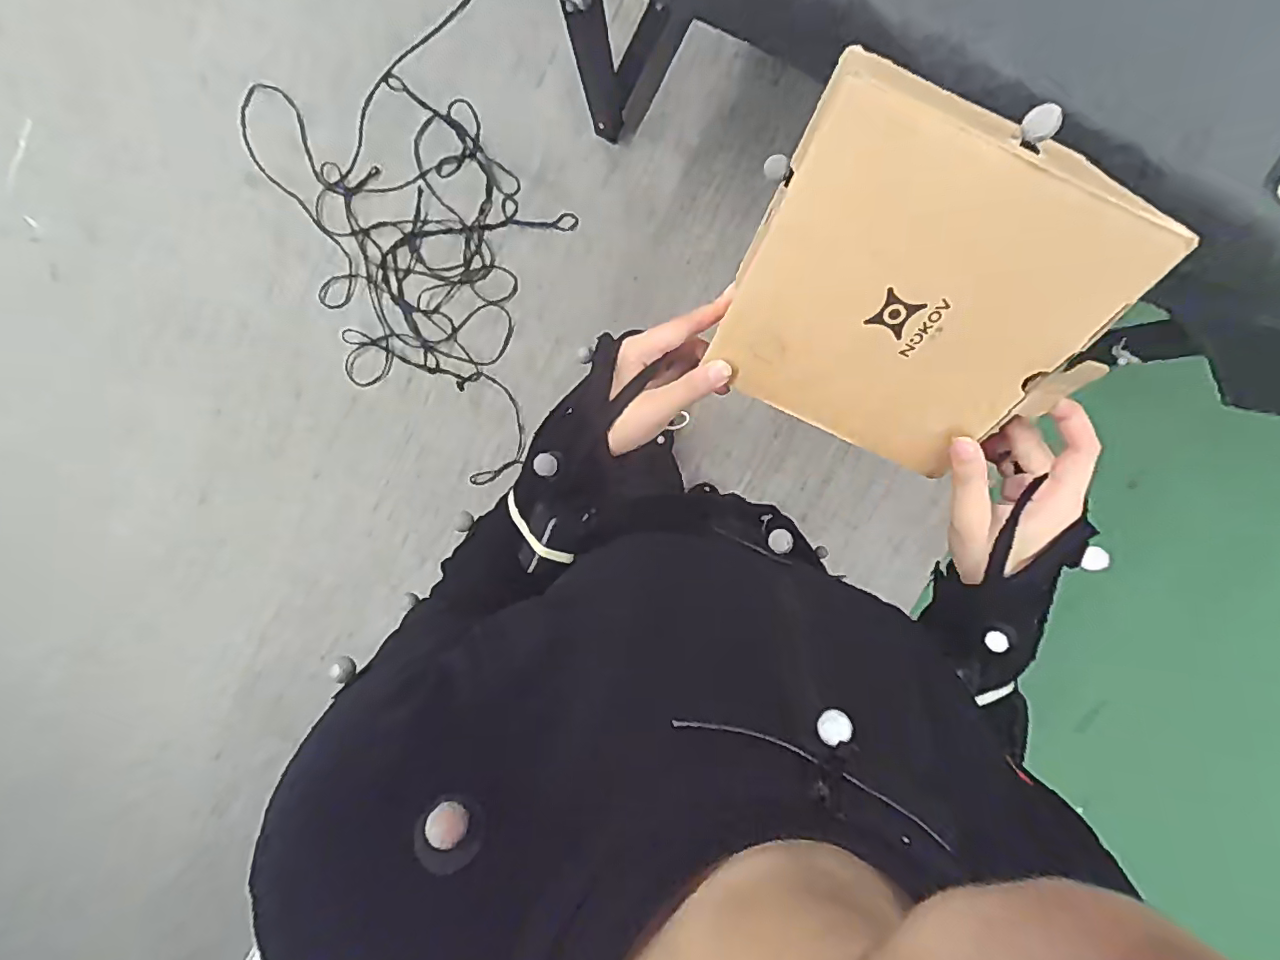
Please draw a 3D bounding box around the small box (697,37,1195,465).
[{"bbox_3d":[0.159,-0.147,0.344,0.179,0.176,0.168,24,134,-3],"label":"small box"}]
